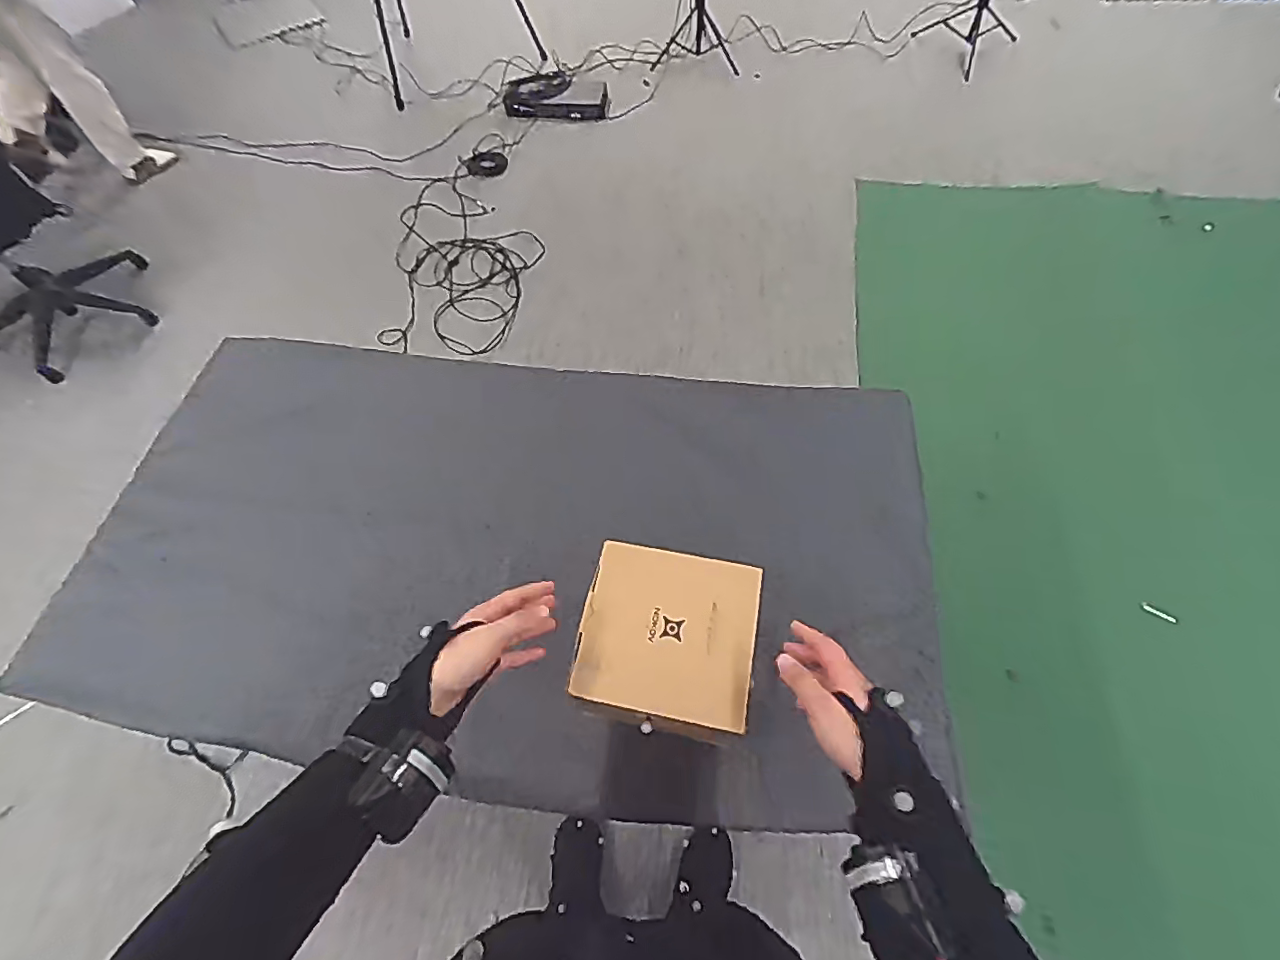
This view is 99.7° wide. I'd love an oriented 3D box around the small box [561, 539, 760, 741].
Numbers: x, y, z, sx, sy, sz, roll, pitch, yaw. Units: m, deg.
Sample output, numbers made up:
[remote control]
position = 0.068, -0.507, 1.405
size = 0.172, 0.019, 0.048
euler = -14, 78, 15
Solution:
[small box]
position = 0.028, 0.185, 0.606
size = 0.179, 0.176, 0.168
euler = 9, 62, 8
